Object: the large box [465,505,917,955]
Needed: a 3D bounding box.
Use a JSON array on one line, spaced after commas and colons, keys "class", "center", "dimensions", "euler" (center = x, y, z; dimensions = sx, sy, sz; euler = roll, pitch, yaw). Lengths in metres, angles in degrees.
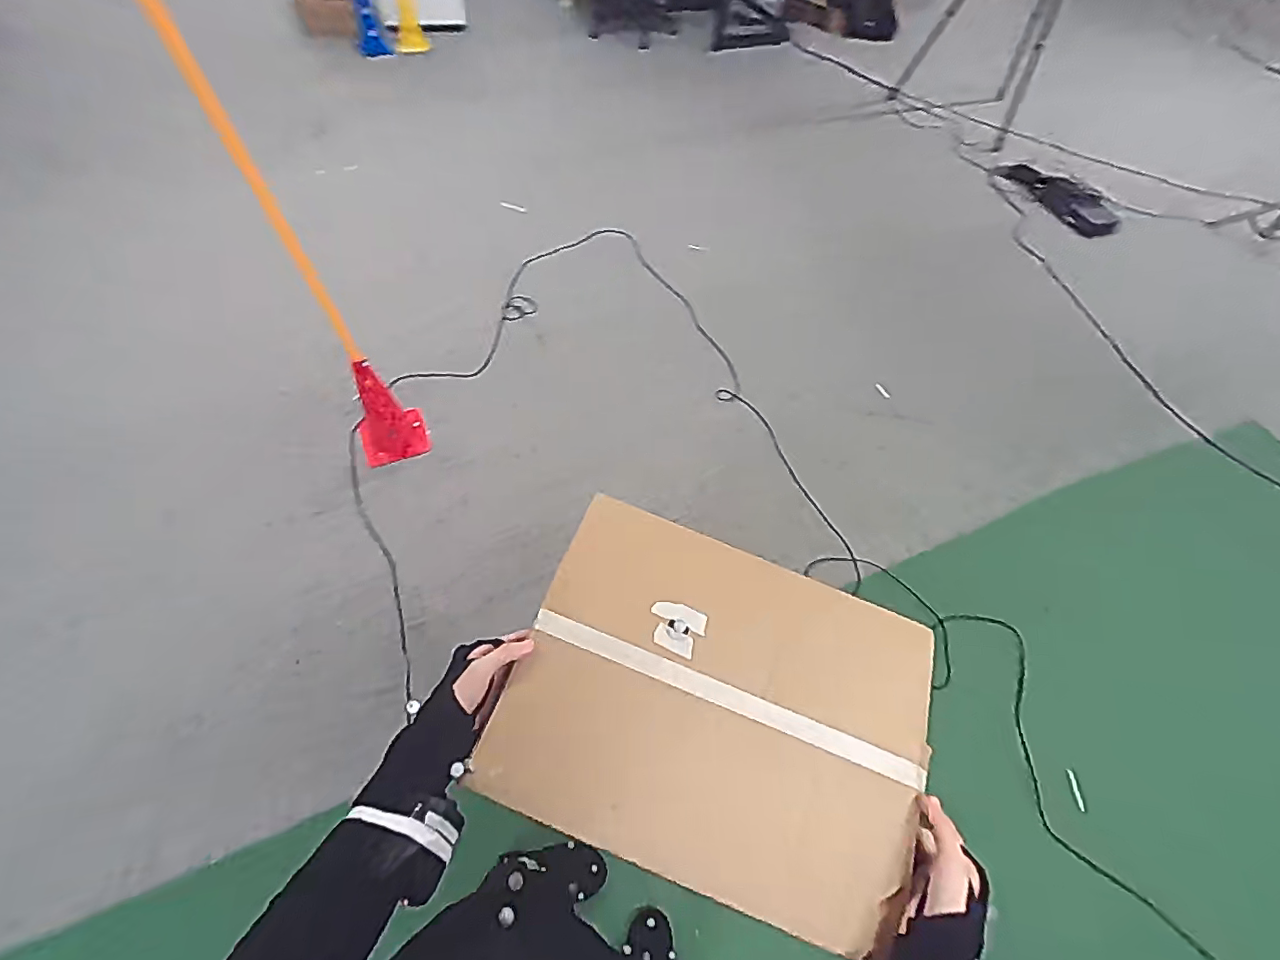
[{"class": "large box", "center": [0.060, 0.286, 0.679], "dimensions": [0.408, 0.320, 0.320], "euler": [21, 62, 3]}]
